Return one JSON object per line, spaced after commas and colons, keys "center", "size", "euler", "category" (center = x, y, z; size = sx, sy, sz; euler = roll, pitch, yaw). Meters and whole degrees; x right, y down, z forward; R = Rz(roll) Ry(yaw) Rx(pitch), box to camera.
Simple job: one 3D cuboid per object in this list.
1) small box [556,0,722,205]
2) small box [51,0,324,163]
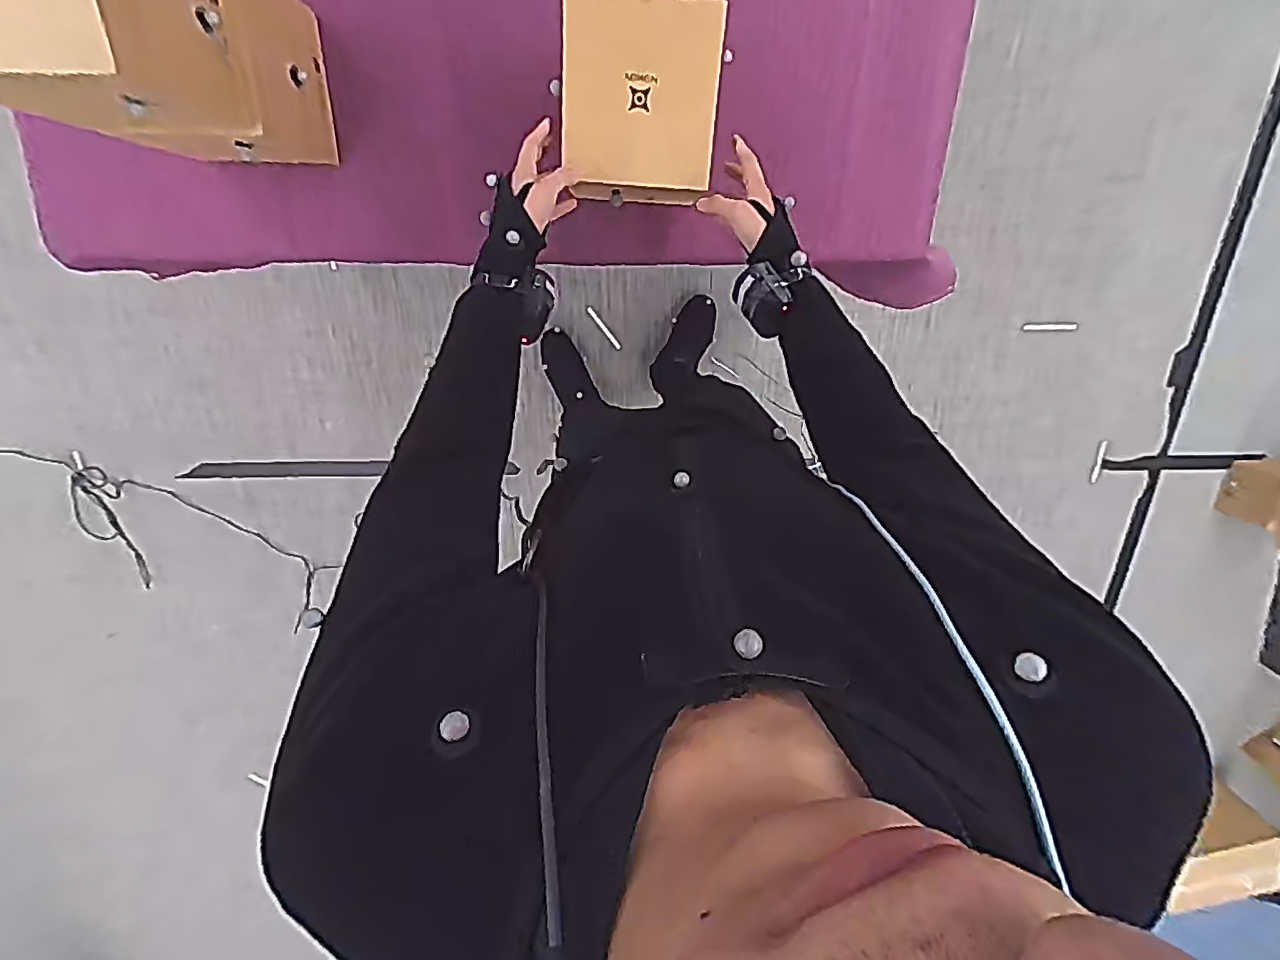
{"center": [-0.005, -0.432, 0.638], "size": [0.168, 0.176, 0.179], "euler": [3, 111, -2], "category": "small box"}
{"center": [-0.484, -0.466, 0.607], "size": [0.179, 0.176, 0.168], "euler": [1, 111, -2], "category": "small box"}
